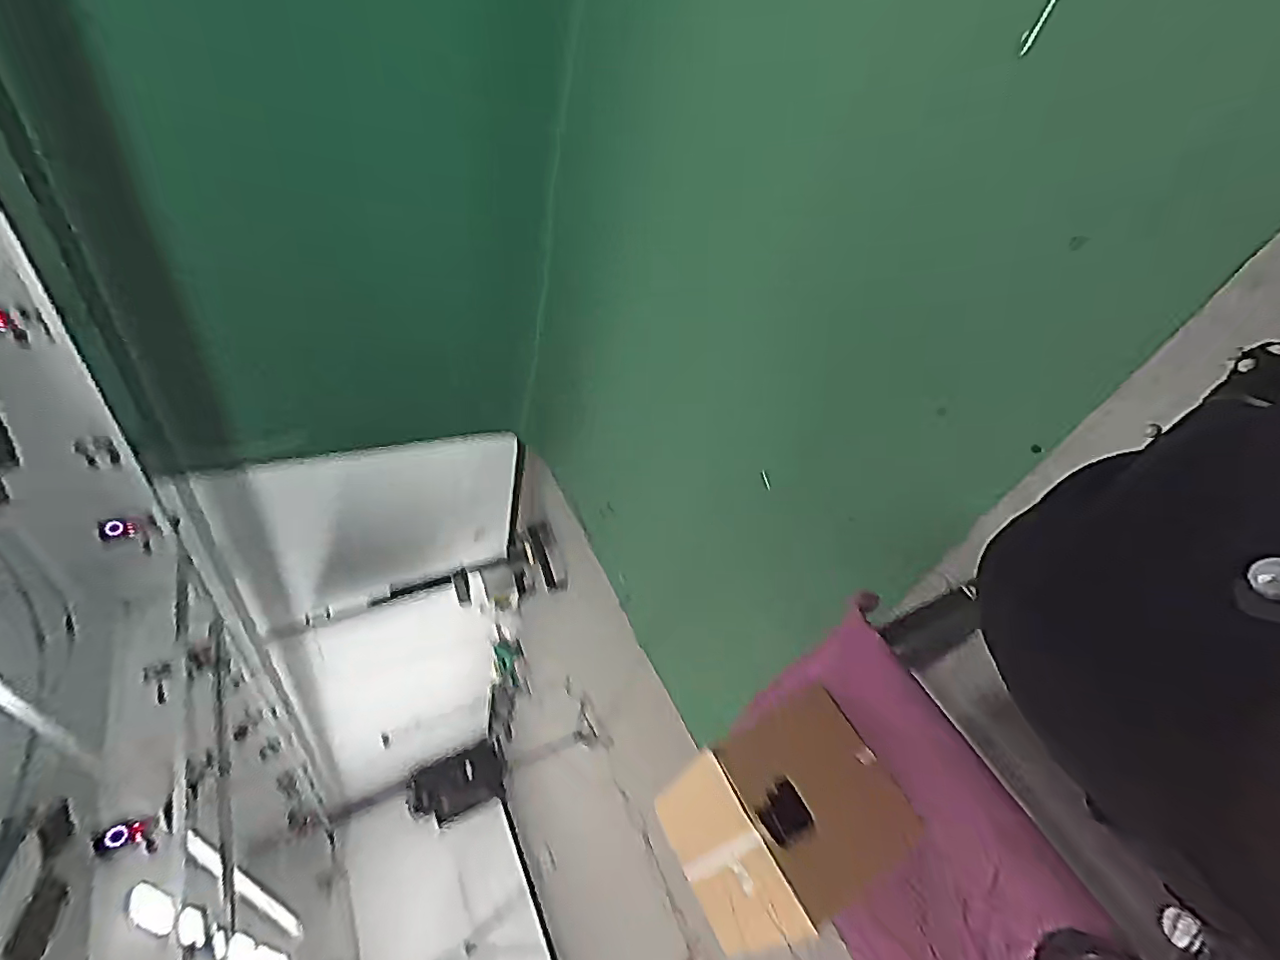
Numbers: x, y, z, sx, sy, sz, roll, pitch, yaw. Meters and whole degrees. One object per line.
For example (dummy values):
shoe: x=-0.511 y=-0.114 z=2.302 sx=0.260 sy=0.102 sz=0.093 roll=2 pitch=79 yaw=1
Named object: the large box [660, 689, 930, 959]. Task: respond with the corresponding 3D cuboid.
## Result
large box: x=0.291 y=0.708 z=1.122 sx=0.320 sy=0.320 sz=0.408 roll=54 pitch=142 yaw=33
